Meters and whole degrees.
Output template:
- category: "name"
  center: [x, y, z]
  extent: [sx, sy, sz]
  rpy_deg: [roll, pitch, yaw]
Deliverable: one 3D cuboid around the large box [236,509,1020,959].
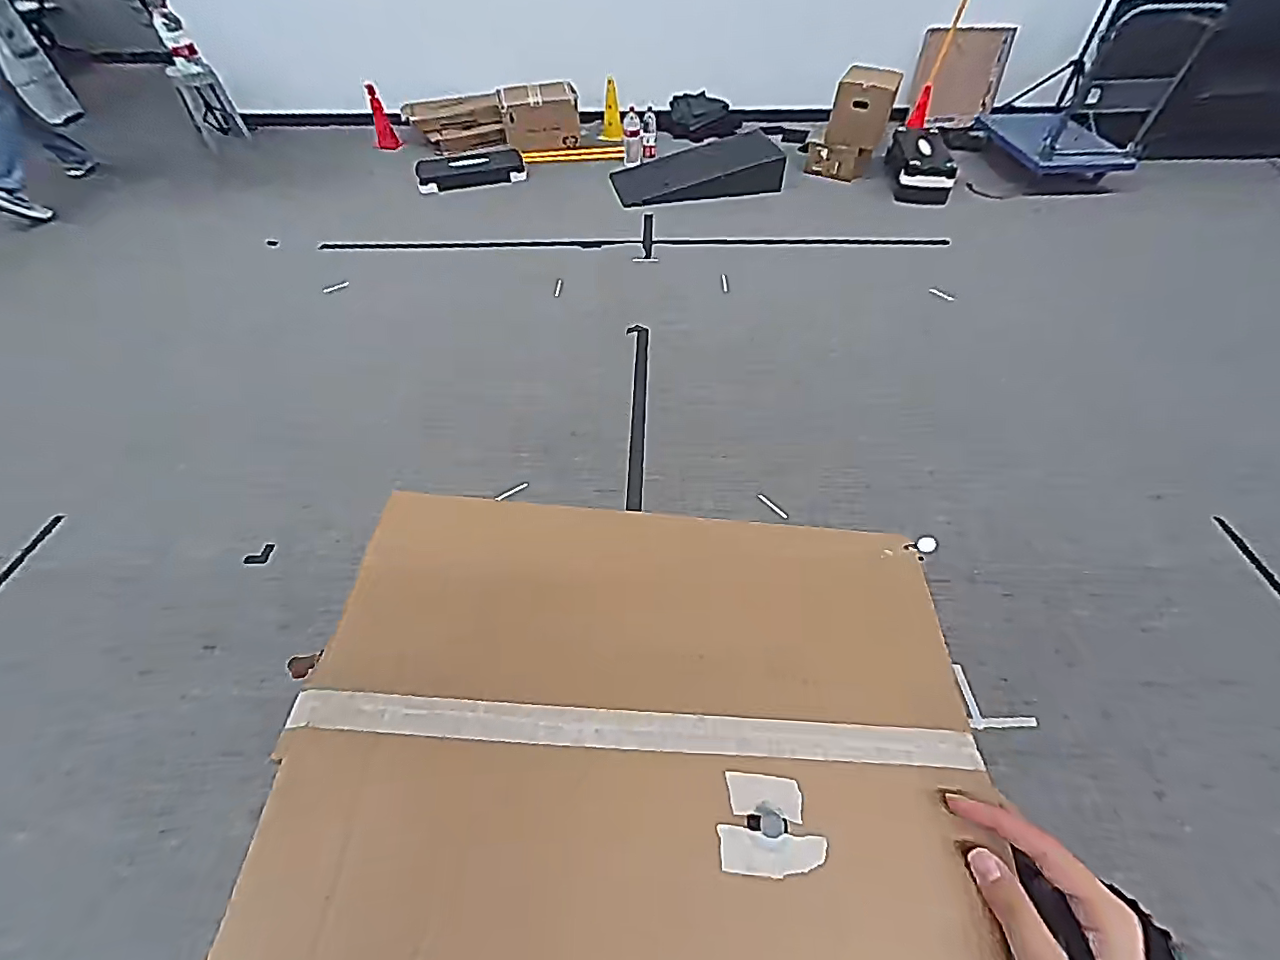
- category: "large box"
  center: [-0.008, 0.247, 0.452]
  extent: [0.408, 0.320, 0.320]
  rpy_deg: [5, 54, -3]
